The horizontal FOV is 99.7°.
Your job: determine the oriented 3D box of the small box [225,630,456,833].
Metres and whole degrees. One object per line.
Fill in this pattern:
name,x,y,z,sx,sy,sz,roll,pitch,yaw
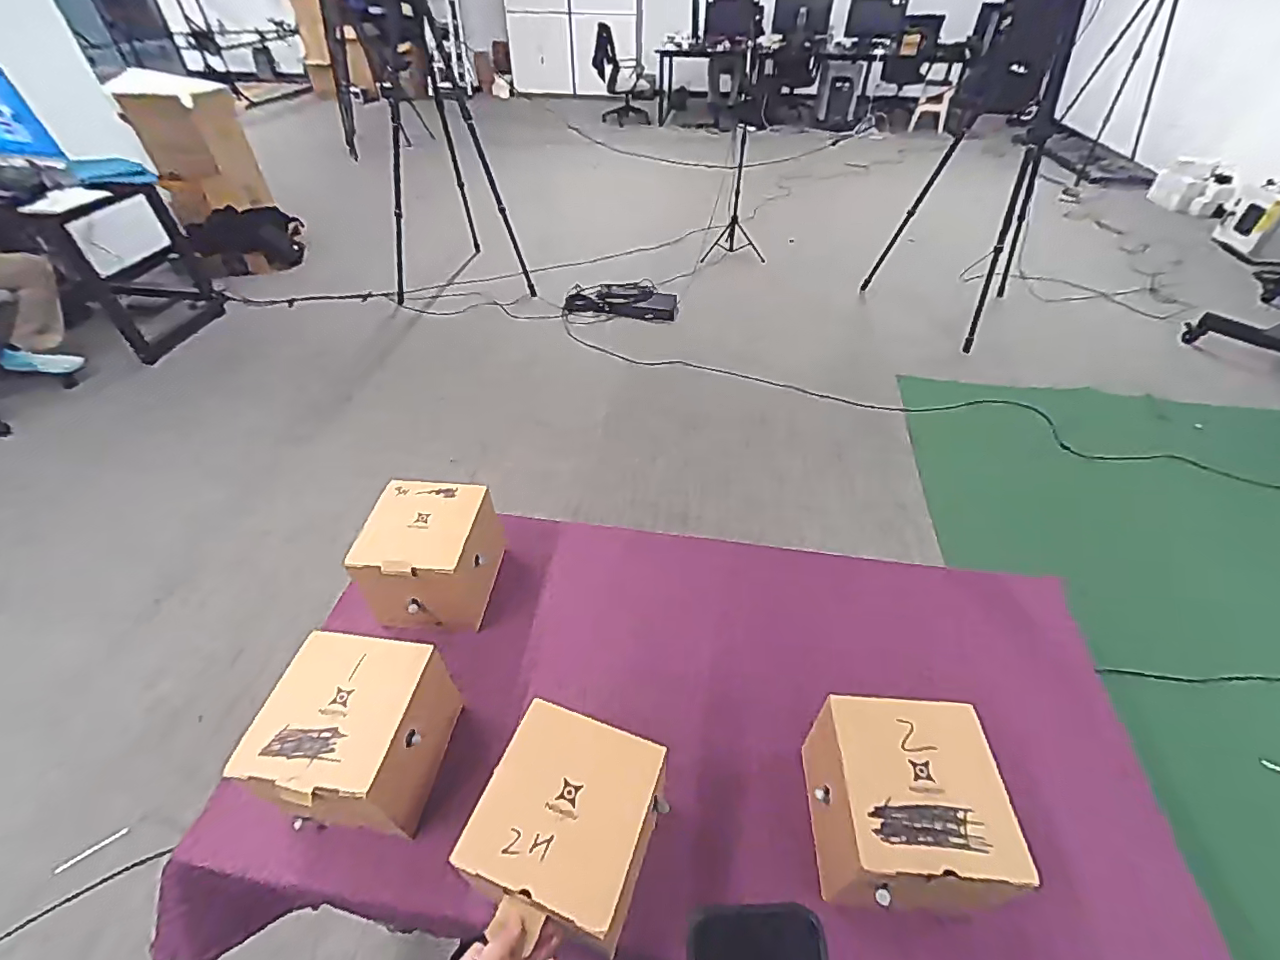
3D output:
small box,-0.352,0.318,0.682,0.168,0.176,0.179,6,43,5

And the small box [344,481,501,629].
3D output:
small box,-0.337,0.124,0.883,0.168,0.176,0.179,4,45,3

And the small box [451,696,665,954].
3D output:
small box,-0.079,0.386,0.610,0.168,0.176,0.179,14,45,15
